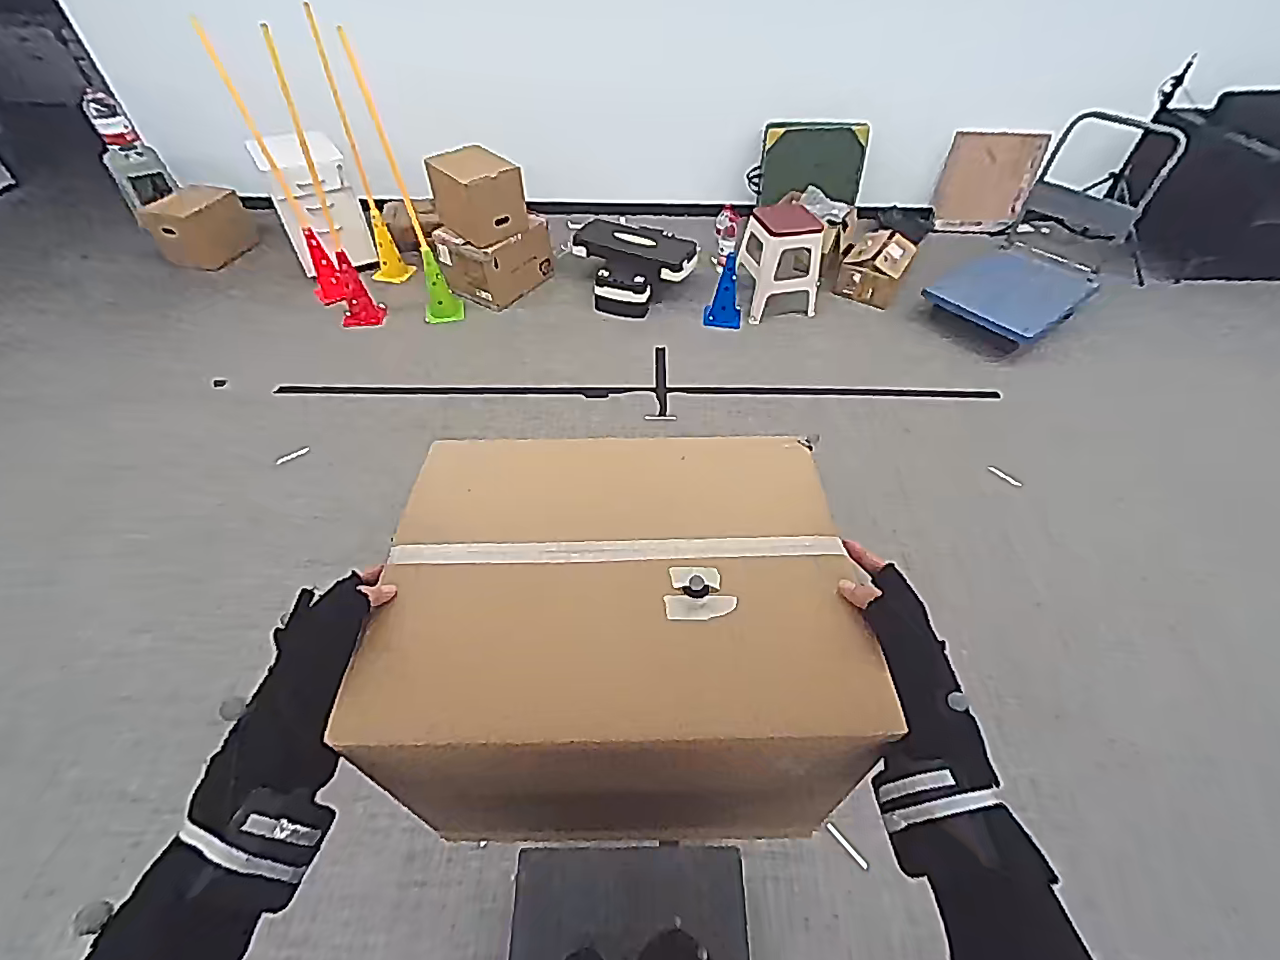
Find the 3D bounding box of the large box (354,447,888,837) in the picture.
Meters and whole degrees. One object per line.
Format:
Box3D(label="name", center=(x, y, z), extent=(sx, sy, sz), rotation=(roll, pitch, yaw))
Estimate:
Box3D(label="large box", center=(-0.016, 0.179, 0.604), extent=(0.408, 0.320, 0.320), rotation=(-1, 46, 0))
